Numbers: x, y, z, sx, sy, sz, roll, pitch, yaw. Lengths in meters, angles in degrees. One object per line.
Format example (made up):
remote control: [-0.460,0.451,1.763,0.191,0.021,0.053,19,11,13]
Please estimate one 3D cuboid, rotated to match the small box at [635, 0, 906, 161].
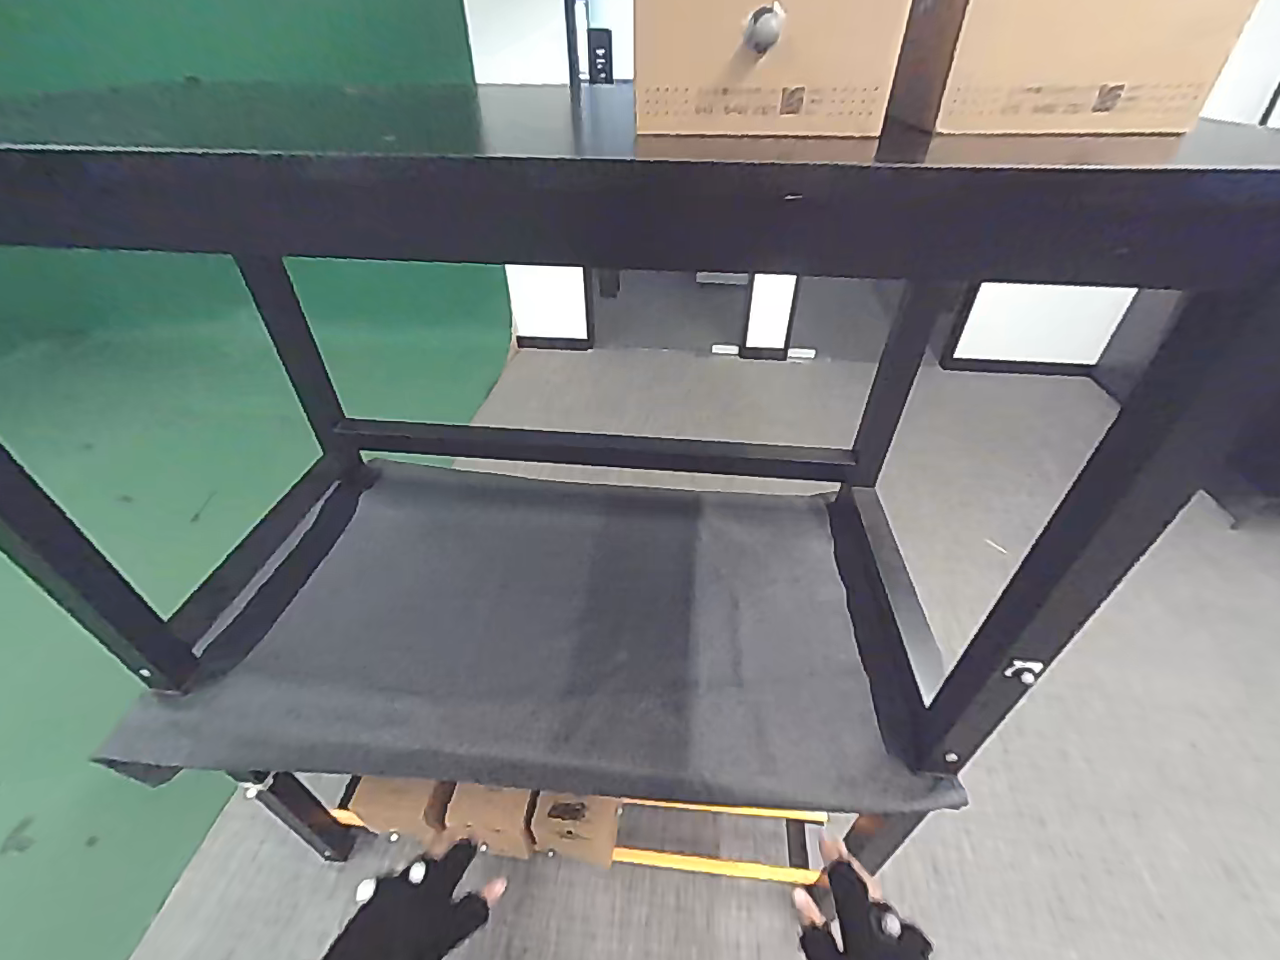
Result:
small box: [0.086,-0.343,0.389,0.168,0.176,0.179,3,40,5]
